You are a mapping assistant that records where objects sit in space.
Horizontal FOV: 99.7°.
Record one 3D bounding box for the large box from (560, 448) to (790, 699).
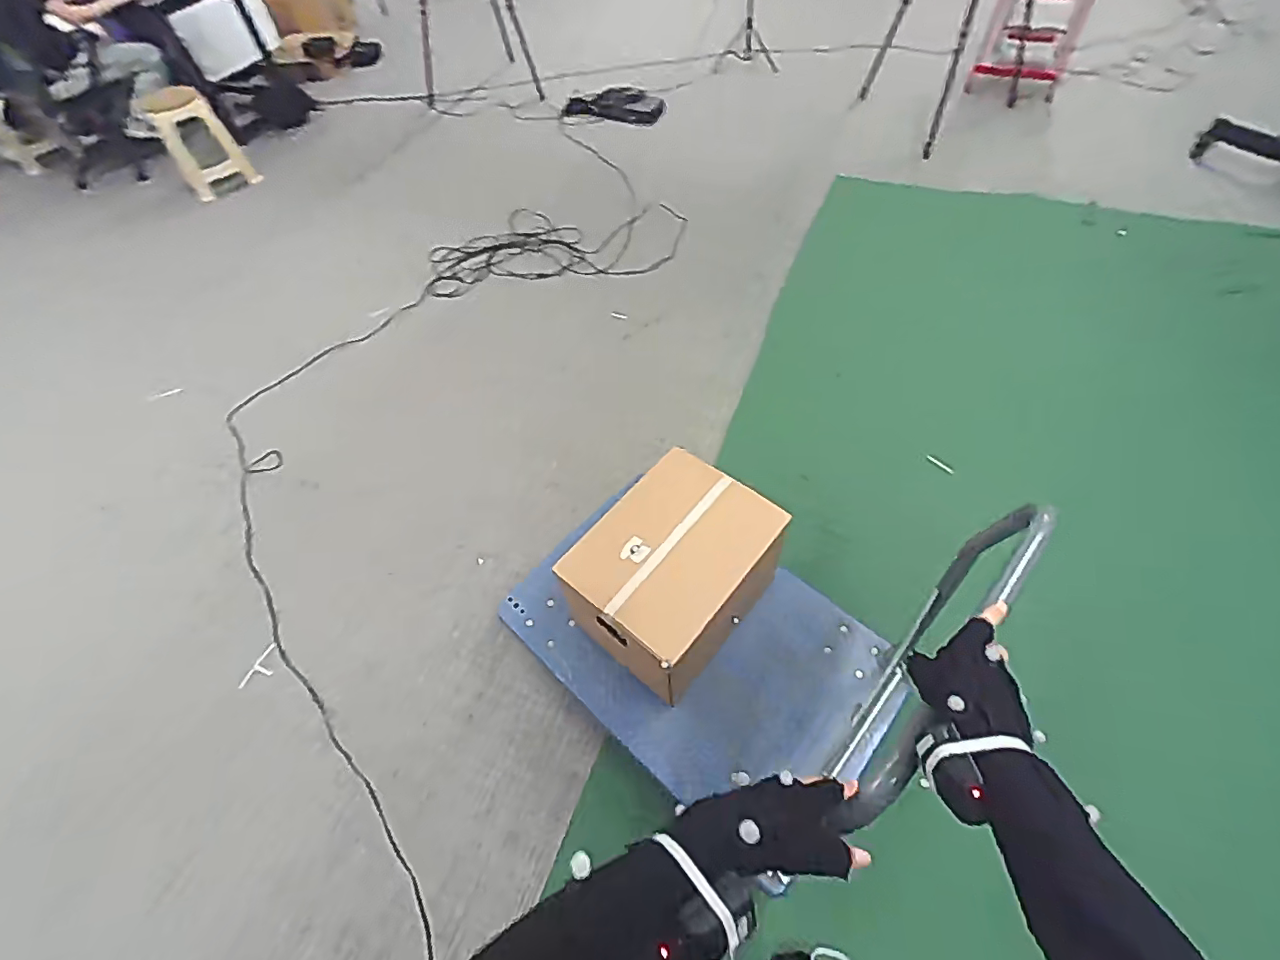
[{"bbox_3d":[0.087,0.211,1.234,0.320,0.320,0.408,33,64,25],"label":"large box"}]
